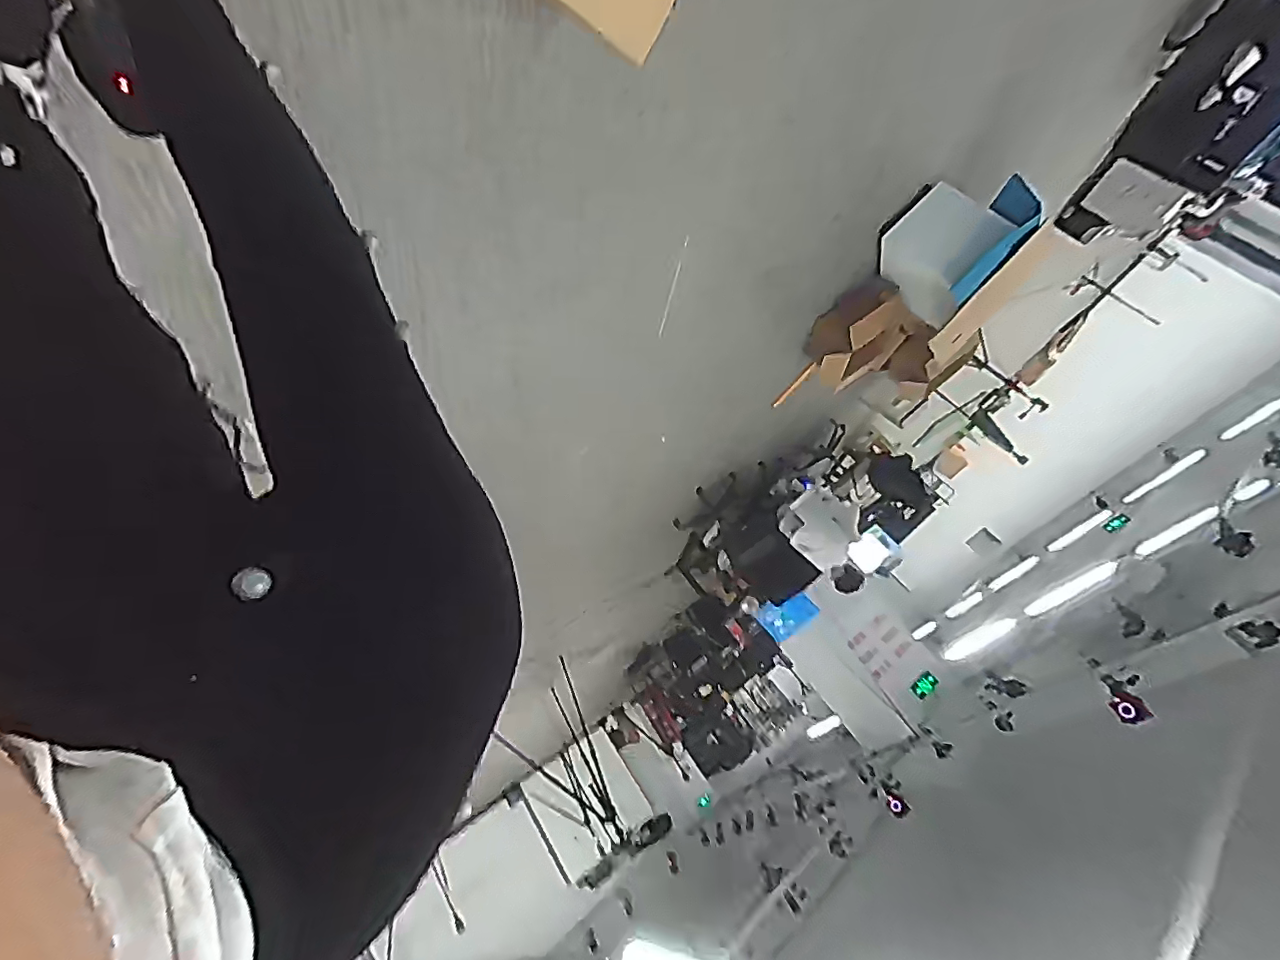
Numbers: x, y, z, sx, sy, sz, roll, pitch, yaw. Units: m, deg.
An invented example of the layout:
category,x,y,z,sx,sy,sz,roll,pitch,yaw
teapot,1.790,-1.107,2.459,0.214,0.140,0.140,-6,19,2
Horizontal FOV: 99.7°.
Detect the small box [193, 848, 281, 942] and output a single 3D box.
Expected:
category,x,y,z,sx,sy,sz,roll,pitch,yaw
small box,-1.258,1.296,1.694,0.168,0.176,0.179,-24,152,-35
